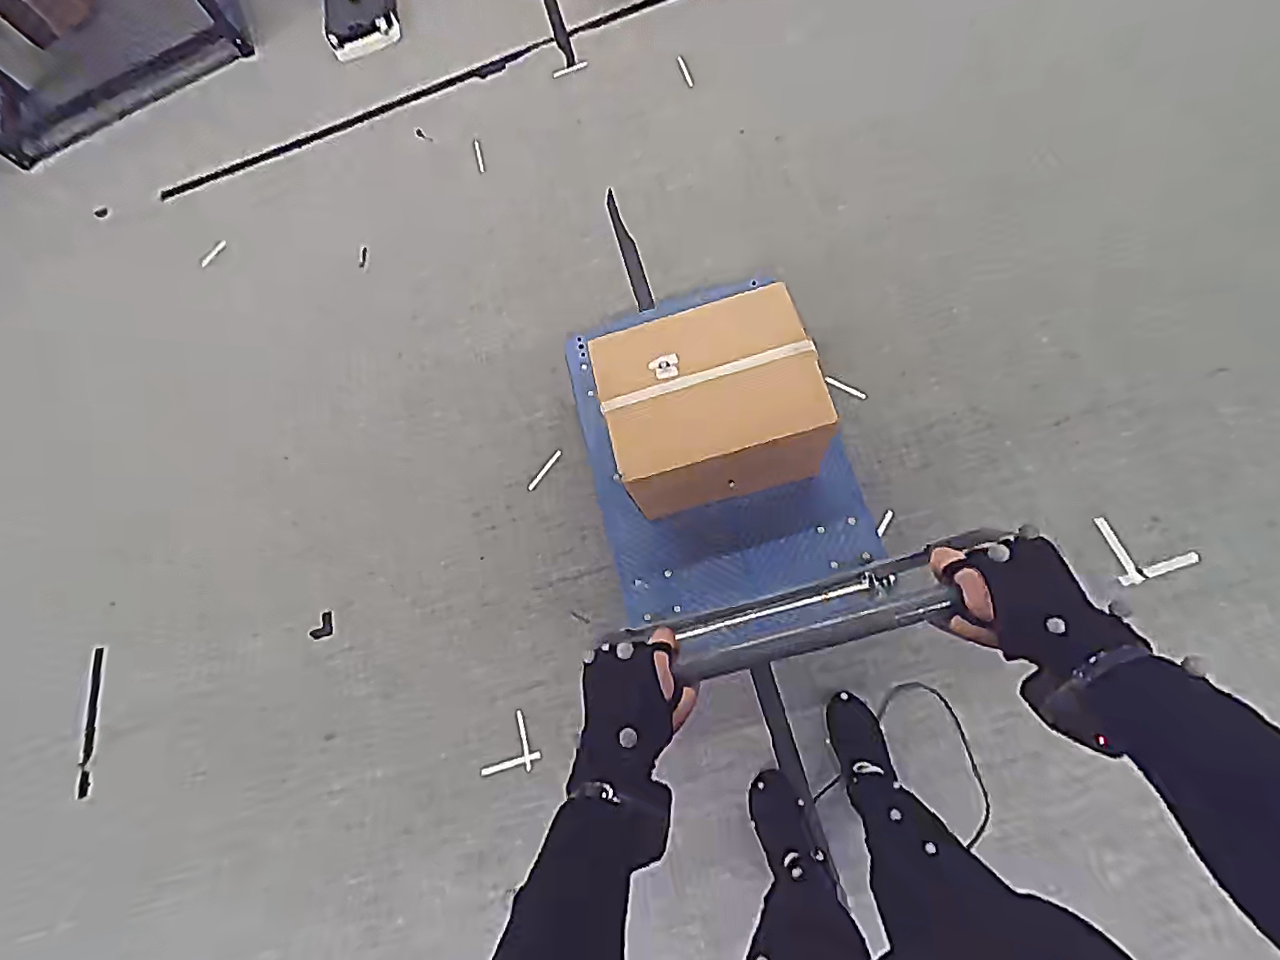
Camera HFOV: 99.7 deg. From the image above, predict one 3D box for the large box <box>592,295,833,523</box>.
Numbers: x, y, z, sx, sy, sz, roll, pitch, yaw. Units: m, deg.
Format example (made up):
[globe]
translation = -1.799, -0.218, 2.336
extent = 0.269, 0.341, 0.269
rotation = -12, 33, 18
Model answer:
[large box]
translation = 0.152, -0.131, 1.179
extent = 0.408, 0.320, 0.320
rotation = -17, 70, 6
